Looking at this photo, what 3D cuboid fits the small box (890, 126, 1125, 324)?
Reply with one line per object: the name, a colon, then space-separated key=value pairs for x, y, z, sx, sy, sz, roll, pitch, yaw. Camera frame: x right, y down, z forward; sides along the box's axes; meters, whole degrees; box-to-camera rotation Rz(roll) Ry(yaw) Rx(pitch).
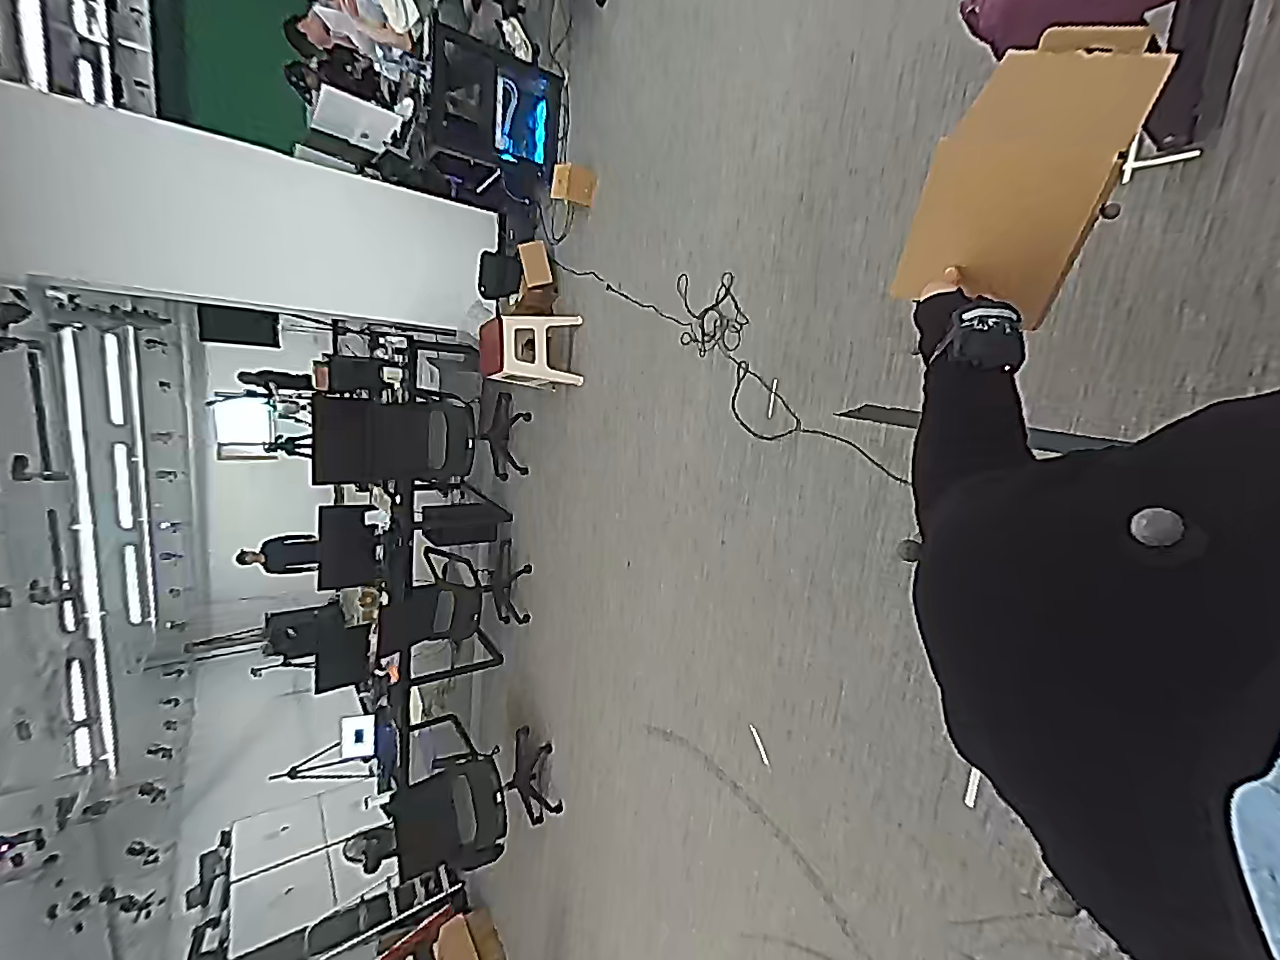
small box: x=0.436 y=-0.303 z=0.656 sx=0.168 sy=0.176 sz=0.179 roll=29 pitch=123 yaw=29
